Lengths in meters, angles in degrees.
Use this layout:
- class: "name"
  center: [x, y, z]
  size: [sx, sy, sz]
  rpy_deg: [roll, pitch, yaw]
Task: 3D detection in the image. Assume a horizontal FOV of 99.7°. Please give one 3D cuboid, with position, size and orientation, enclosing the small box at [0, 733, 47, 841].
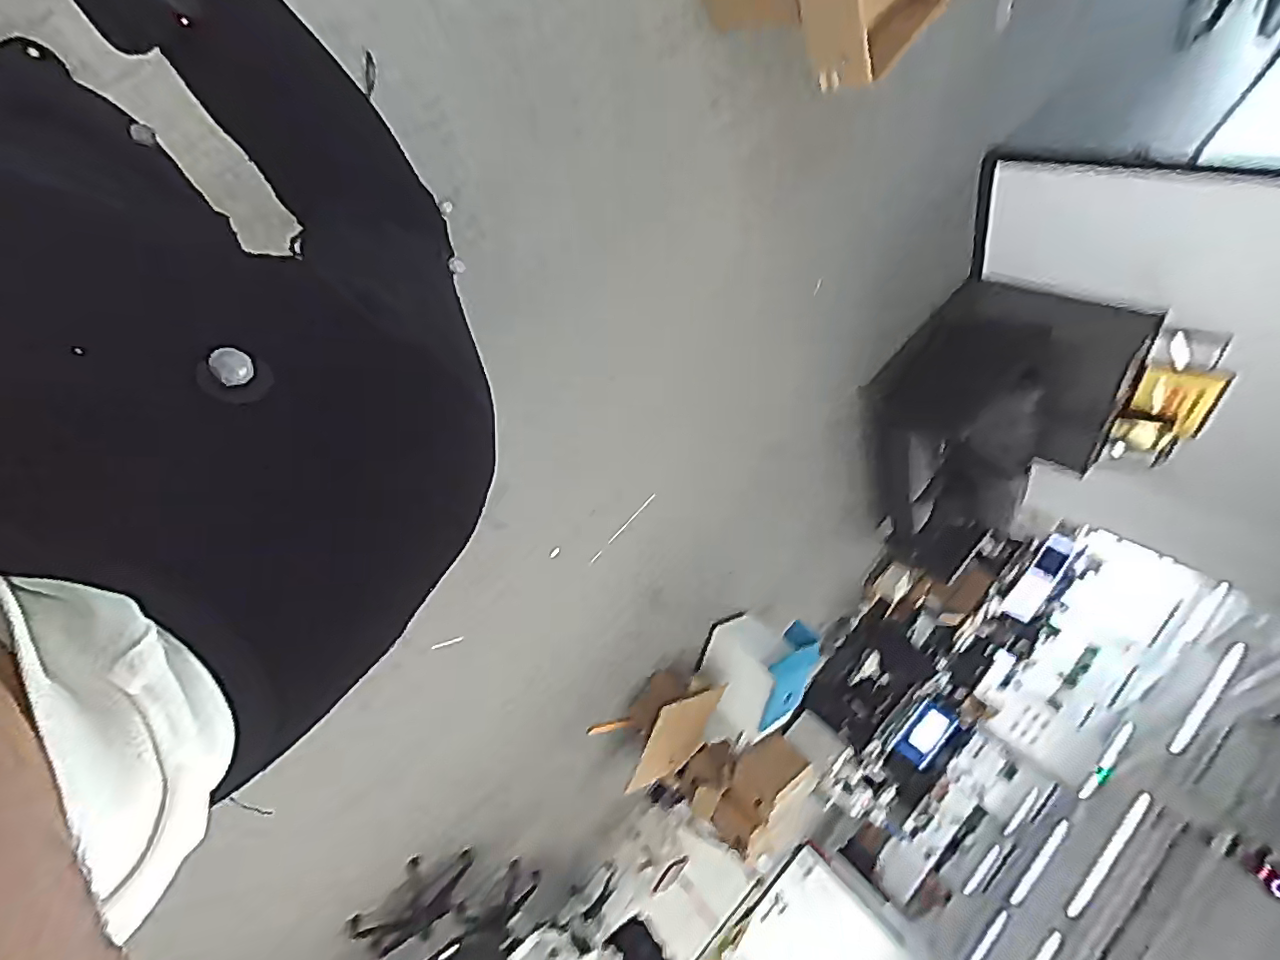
- class: "small box"
  center: [-0.902, 0.444, 0.677]
  size: [0.179, 0.176, 0.168]
  rpy_deg: [-50, 141, -5]
